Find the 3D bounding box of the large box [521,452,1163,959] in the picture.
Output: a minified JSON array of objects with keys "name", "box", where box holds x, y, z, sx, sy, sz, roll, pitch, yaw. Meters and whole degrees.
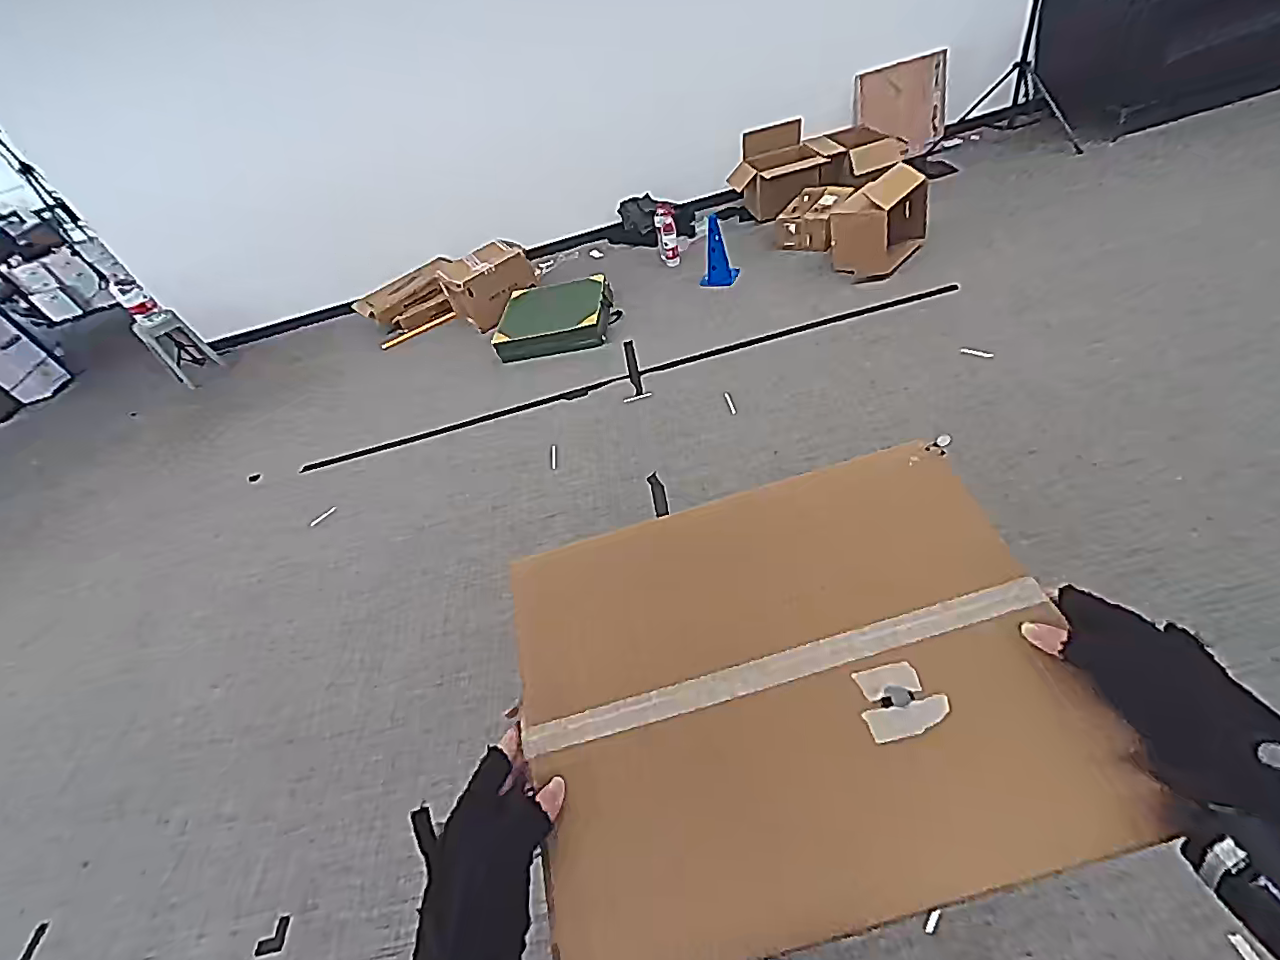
[{"name":"large box","box":[0.135,0.233,0.549,0.408,0.320,0.320,-17,56,0]}]
